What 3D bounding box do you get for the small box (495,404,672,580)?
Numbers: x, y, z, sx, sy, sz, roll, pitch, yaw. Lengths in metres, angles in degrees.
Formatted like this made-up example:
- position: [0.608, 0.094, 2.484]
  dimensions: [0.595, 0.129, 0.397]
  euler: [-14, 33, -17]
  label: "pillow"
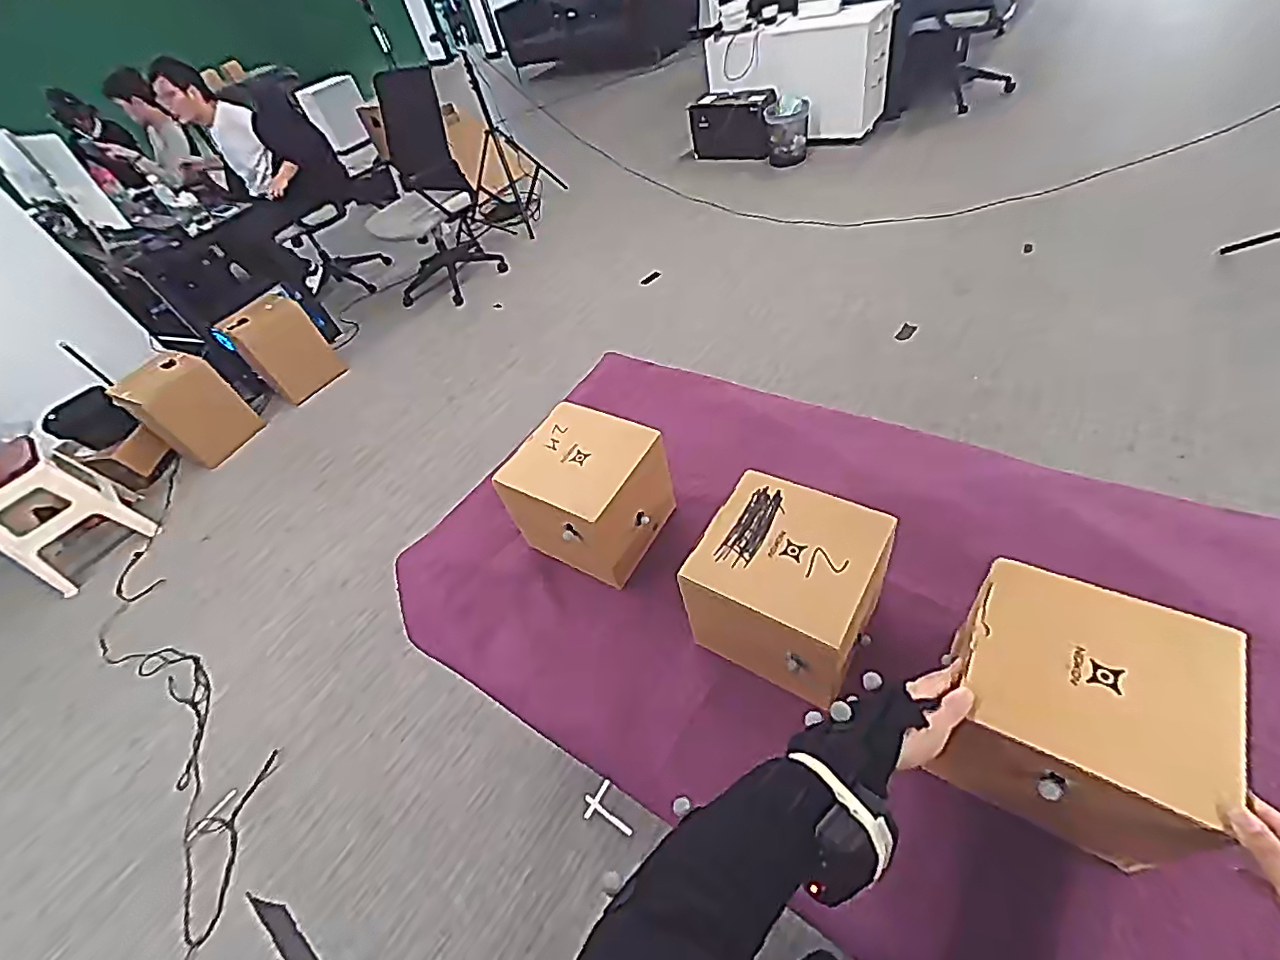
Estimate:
- position: [-0.069, 0.021, 0.786]
  dimensions: [0.179, 0.176, 0.168]
  euler: [20, 57, 27]
  label: "small box"
